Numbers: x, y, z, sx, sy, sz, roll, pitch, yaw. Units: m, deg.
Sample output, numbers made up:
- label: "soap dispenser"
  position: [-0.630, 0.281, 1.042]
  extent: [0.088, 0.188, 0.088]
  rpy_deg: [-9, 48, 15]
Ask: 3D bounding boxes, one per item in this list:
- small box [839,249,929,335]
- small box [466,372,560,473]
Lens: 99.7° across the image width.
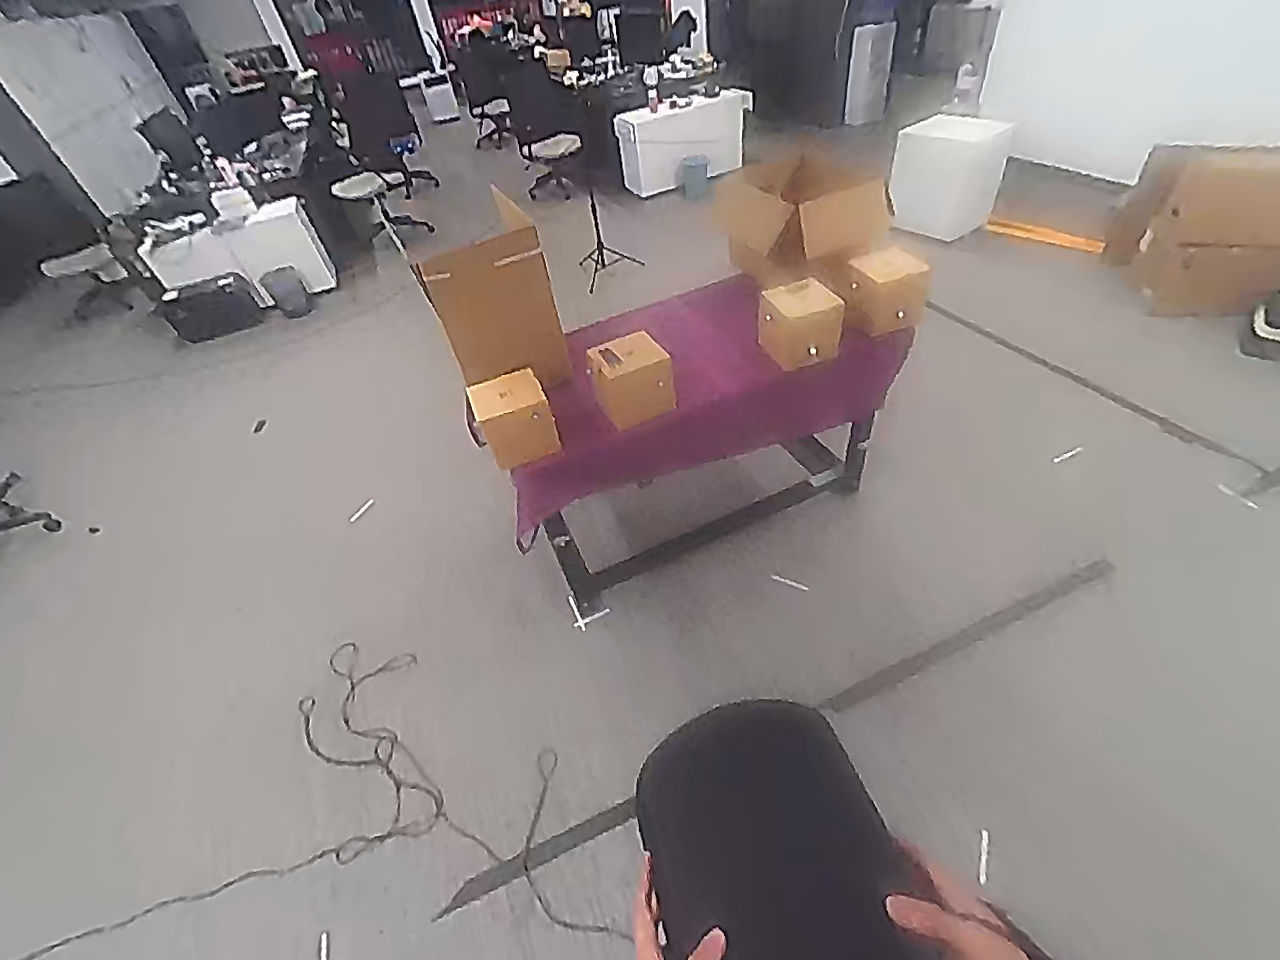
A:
- label: "small box"
  position: [0.707, -0.552, 1.591]
  extent: [0.168, 0.176, 0.179]
  rpy_deg: [-18, 44, -6]
- label: "small box"
  position: [-0.325, -0.145, 1.394]
  extent: [0.179, 0.176, 0.168]
  rpy_deg: [-21, 45, -12]
